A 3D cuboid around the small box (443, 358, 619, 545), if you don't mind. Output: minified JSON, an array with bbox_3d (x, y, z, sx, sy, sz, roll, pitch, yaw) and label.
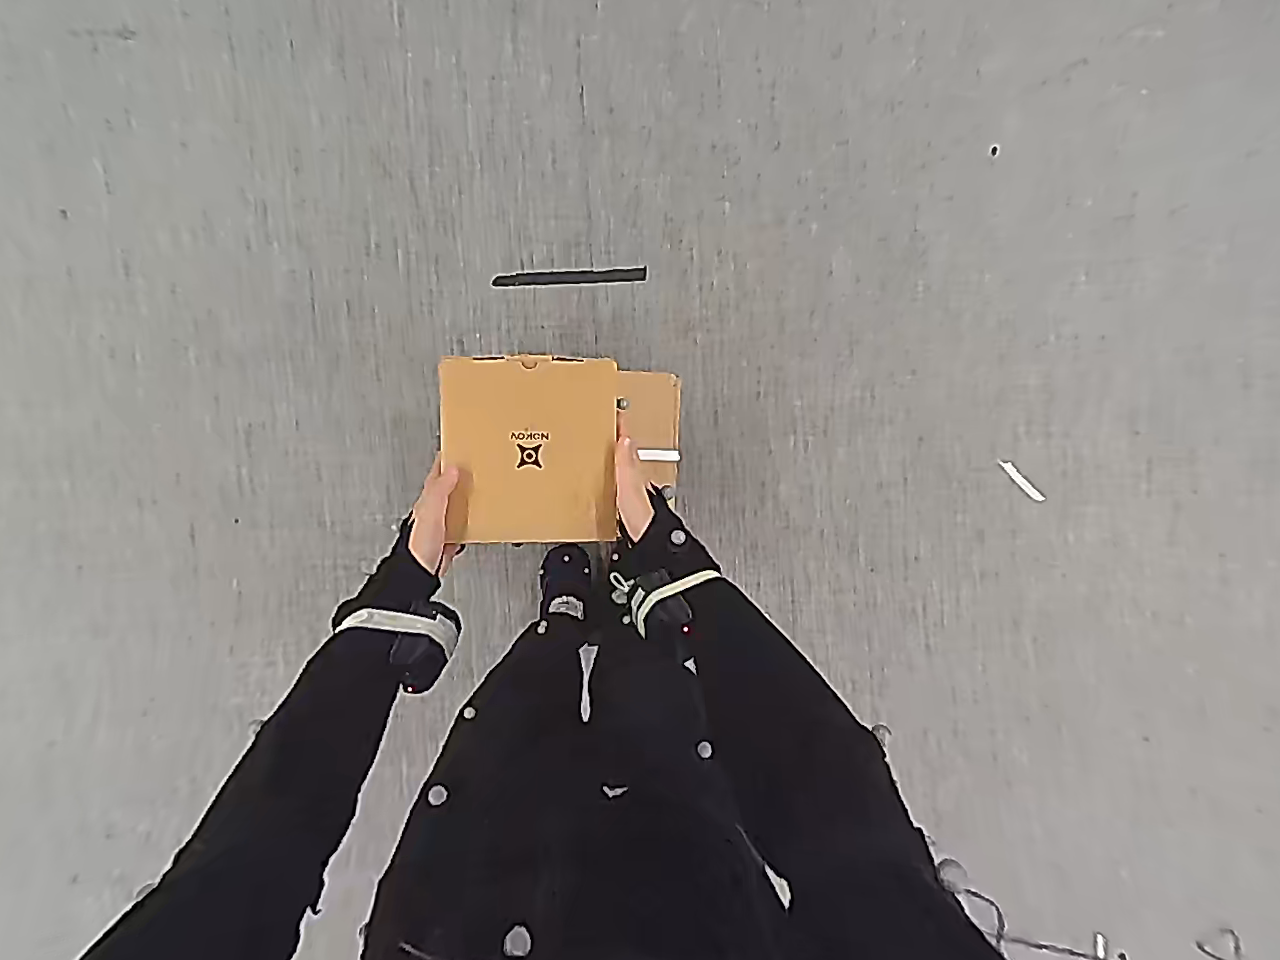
[{"bbox_3d":[-0.107,-0.029,0.586,0.168,0.176,0.179,-1,91,-6],"label":"small box"}]
